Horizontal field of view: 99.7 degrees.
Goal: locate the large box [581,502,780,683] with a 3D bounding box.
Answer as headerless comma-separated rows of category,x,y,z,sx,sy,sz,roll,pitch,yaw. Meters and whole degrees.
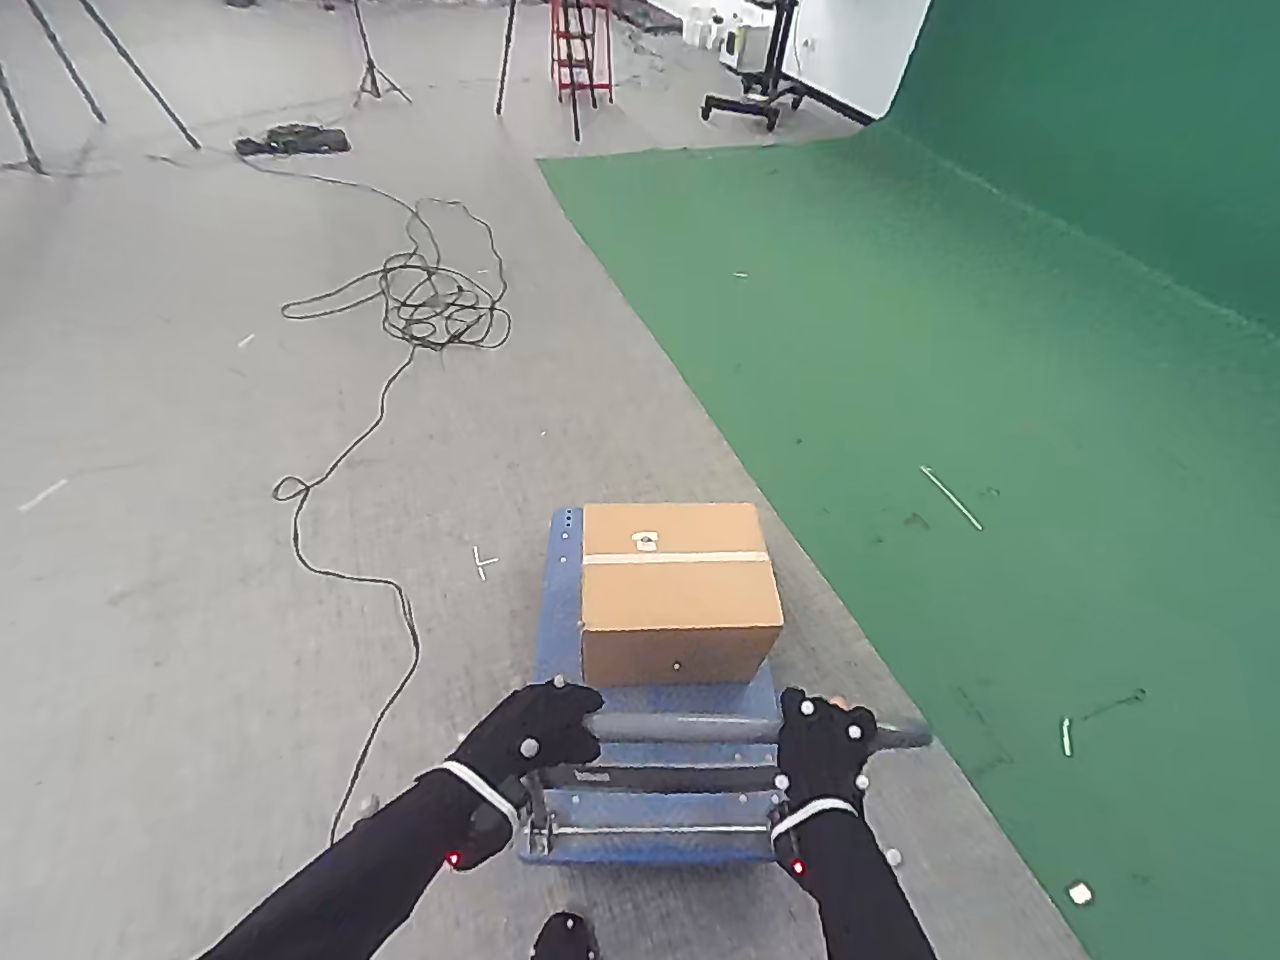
large box,0.068,0.269,1.277,0.408,0.320,0.320,-1,49,-5
